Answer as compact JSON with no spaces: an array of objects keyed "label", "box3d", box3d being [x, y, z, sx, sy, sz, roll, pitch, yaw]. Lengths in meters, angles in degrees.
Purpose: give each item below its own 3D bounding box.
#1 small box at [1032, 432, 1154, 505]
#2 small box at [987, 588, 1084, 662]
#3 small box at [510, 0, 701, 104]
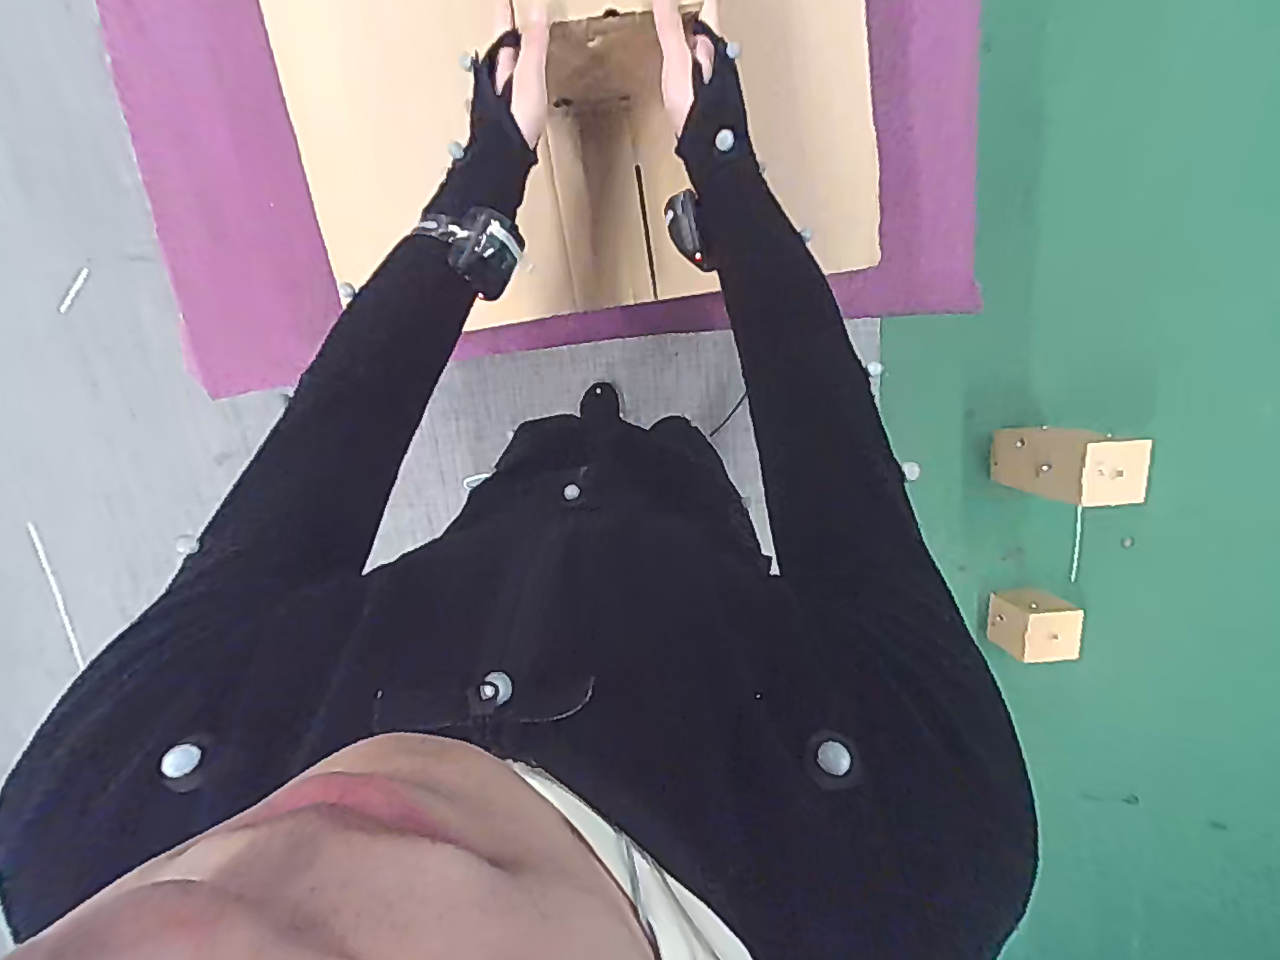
[{"label":"small box","box3d":[1.198,-0.036,1.441,0.179,0.176,0.168,-3,101,-3]},{"label":"small box","box3d":[1.250,0.454,1.717,0.179,0.176,0.168,-4,103,-2]},{"label":"small box","box3d":[-0.044,-0.493,0.518,0.168,0.176,0.179,-10,102,-3]}]
